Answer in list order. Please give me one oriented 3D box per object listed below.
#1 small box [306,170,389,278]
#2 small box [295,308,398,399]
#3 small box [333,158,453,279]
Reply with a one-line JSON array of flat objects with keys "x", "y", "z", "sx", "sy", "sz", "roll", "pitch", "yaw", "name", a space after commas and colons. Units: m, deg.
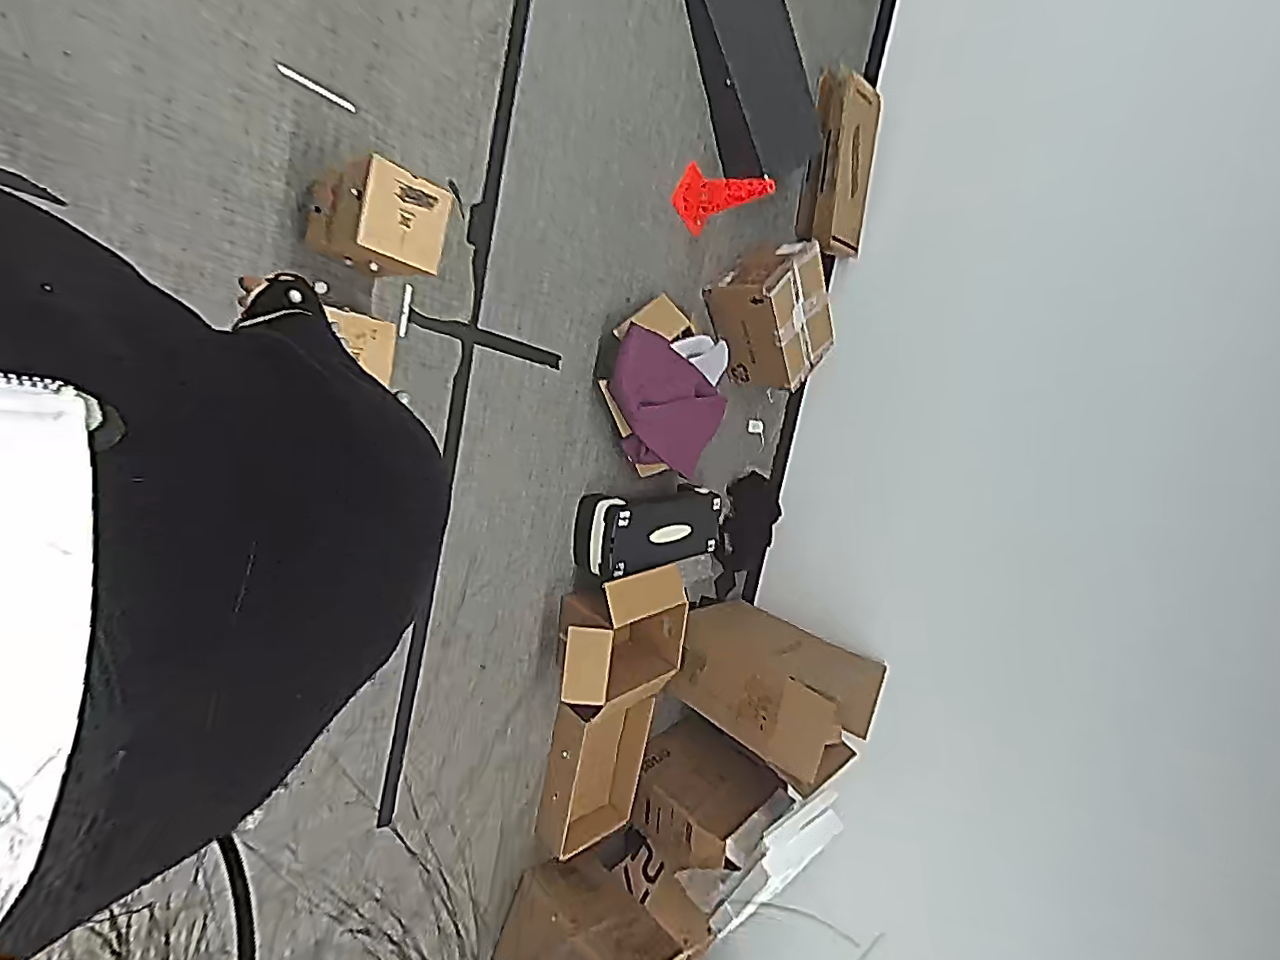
[{"x": -0.648, "y": -0.580, "z": 1.253, "sx": 0.179, "sy": 0.176, "sz": 0.168, "roll": 9, "pitch": 95, "yaw": -47, "name": "small box"}, {"x": -0.702, "y": -0.300, "z": 1.286, "sx": 0.168, "sy": 0.176, "sz": 0.179, "roll": 4, "pitch": 100, "yaw": -47, "name": "small box"}, {"x": -0.526, "y": -0.542, "z": 1.147, "sx": 0.168, "sy": 0.176, "sz": 0.179, "roll": 9, "pitch": 96, "yaw": -48, "name": "small box"}]
